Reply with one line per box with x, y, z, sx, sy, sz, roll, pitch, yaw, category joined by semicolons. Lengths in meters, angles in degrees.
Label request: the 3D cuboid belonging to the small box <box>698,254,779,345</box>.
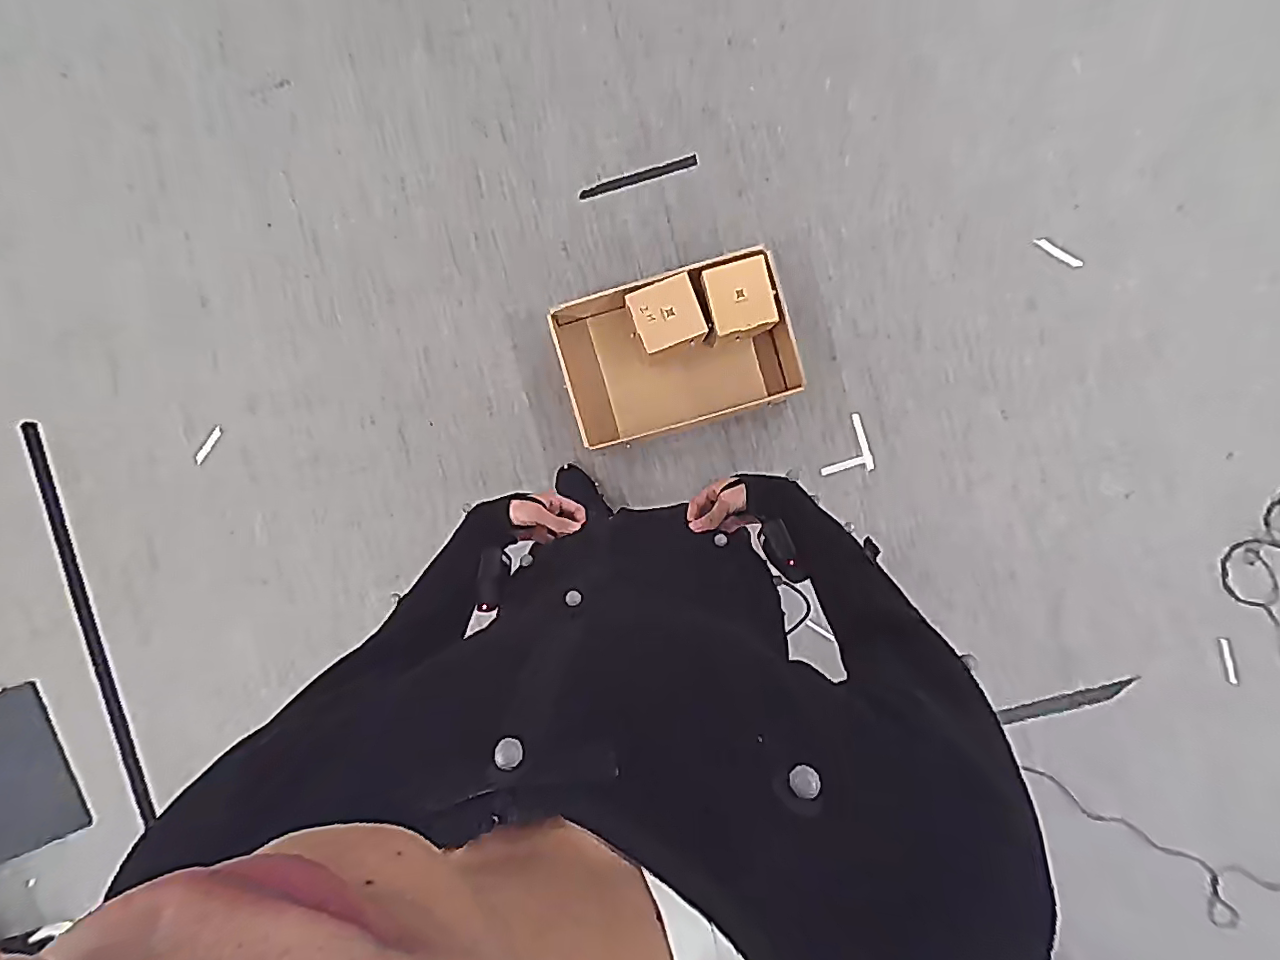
0.263;-0.487;1.478;0.168;0.176;0.179;-15;95;3;small box
